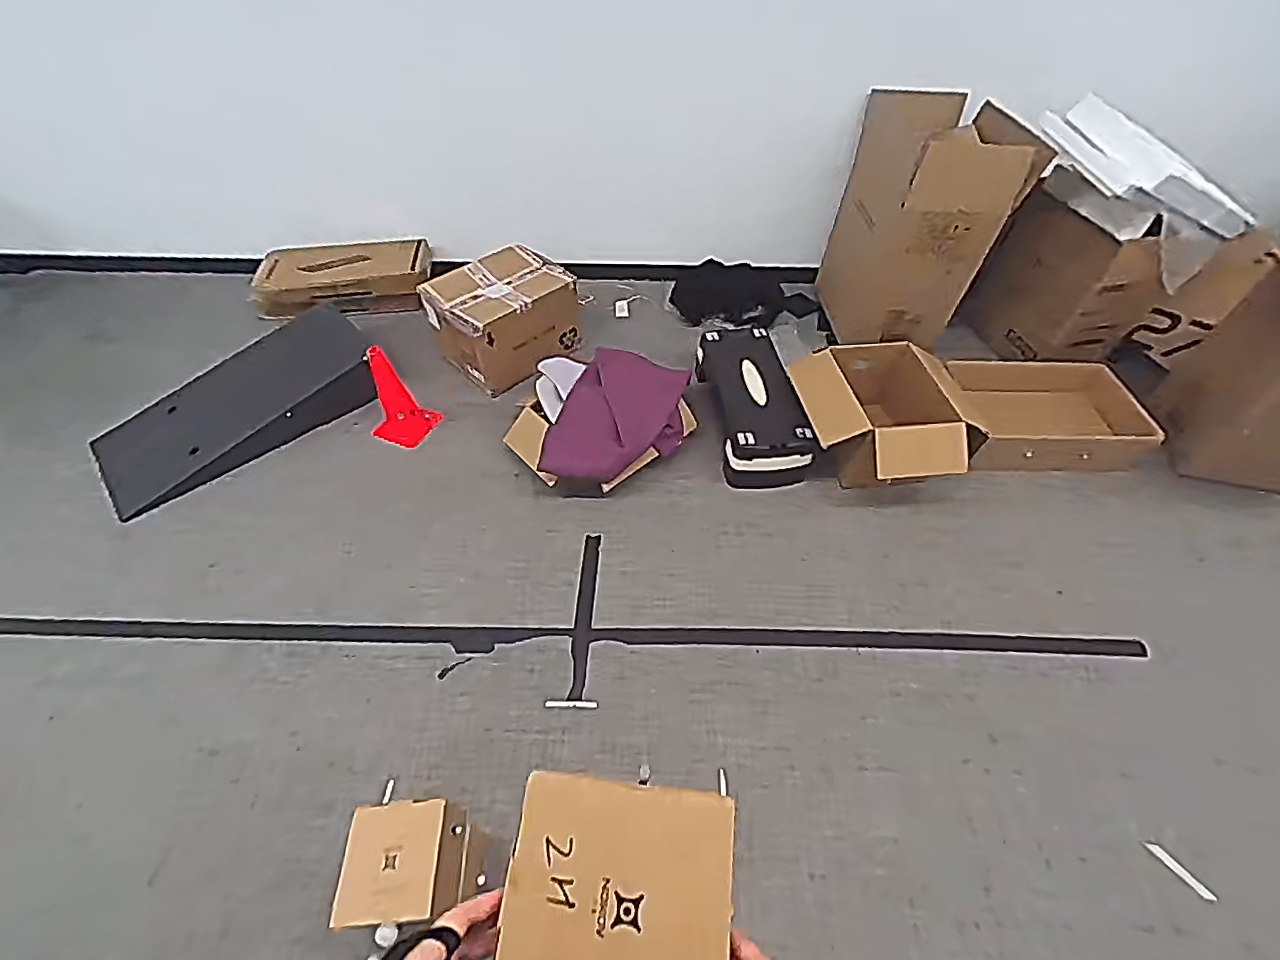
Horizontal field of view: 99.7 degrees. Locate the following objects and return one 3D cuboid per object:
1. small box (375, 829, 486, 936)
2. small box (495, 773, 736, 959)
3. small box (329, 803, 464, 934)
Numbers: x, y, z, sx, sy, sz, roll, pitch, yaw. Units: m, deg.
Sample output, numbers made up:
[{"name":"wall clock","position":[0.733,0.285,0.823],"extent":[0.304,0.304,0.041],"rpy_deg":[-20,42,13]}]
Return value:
[{"name":"small box","position":[-0.433,0.830,1.114],"extent":[0.179,0.176,0.168],"rpy_deg":[0,50,-2]},{"name":"small box","position":[-0.016,0.366,0.485],"extent":[0.179,0.176,0.168],"rpy_deg":[6,61,4]},{"name":"small box","position":[-0.432,0.717,0.996],"extent":[0.168,0.176,0.179],"rpy_deg":[-4,51,-3]}]
